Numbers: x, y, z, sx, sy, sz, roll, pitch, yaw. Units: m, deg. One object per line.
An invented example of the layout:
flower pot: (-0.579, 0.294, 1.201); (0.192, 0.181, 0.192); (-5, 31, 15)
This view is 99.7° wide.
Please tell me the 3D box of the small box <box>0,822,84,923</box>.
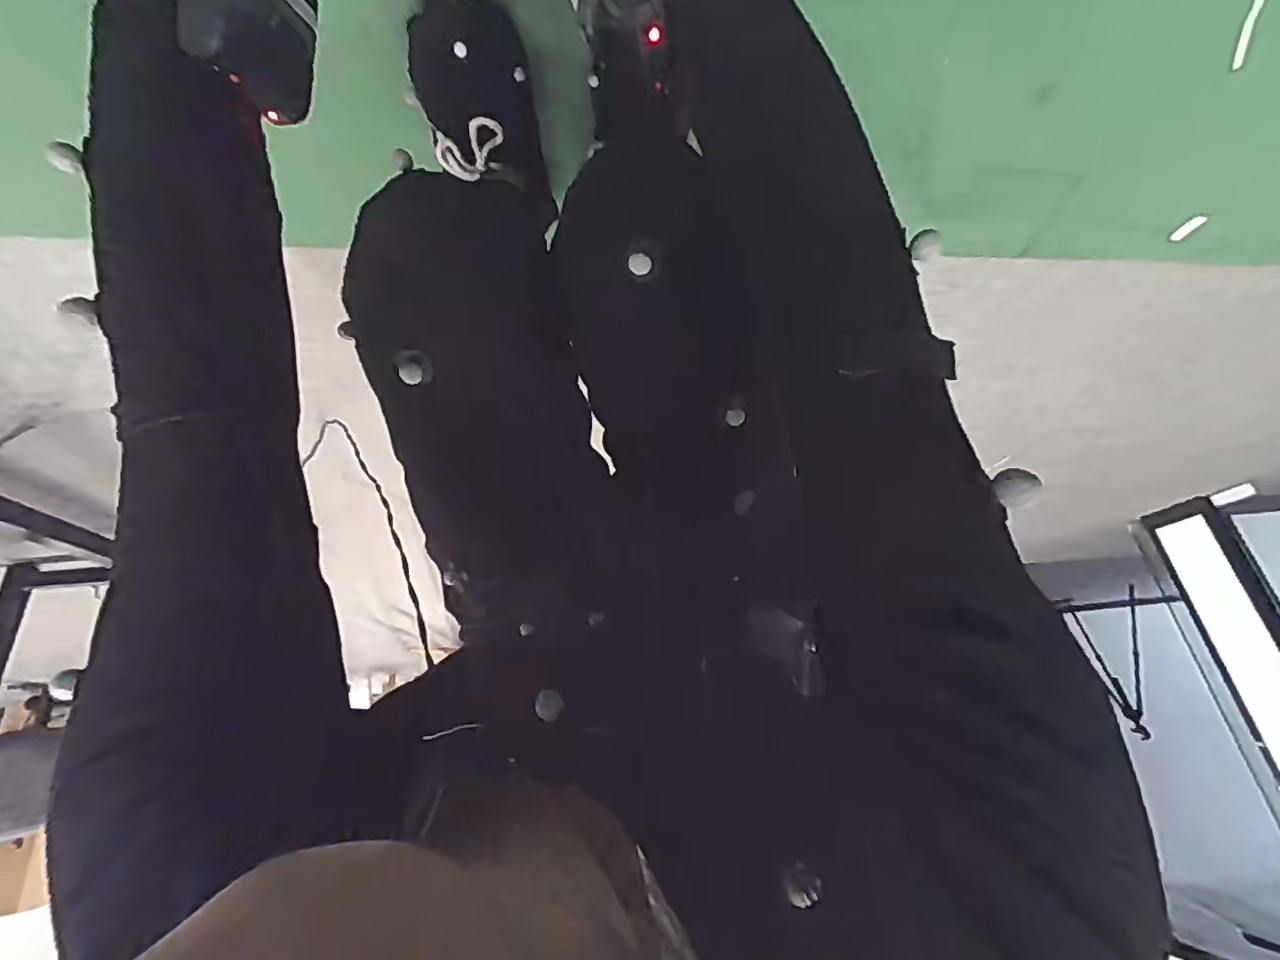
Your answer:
small box: (-1.469, 0.916, 1.256); (0.168, 0.176, 0.179); (-2, 156, -11)
